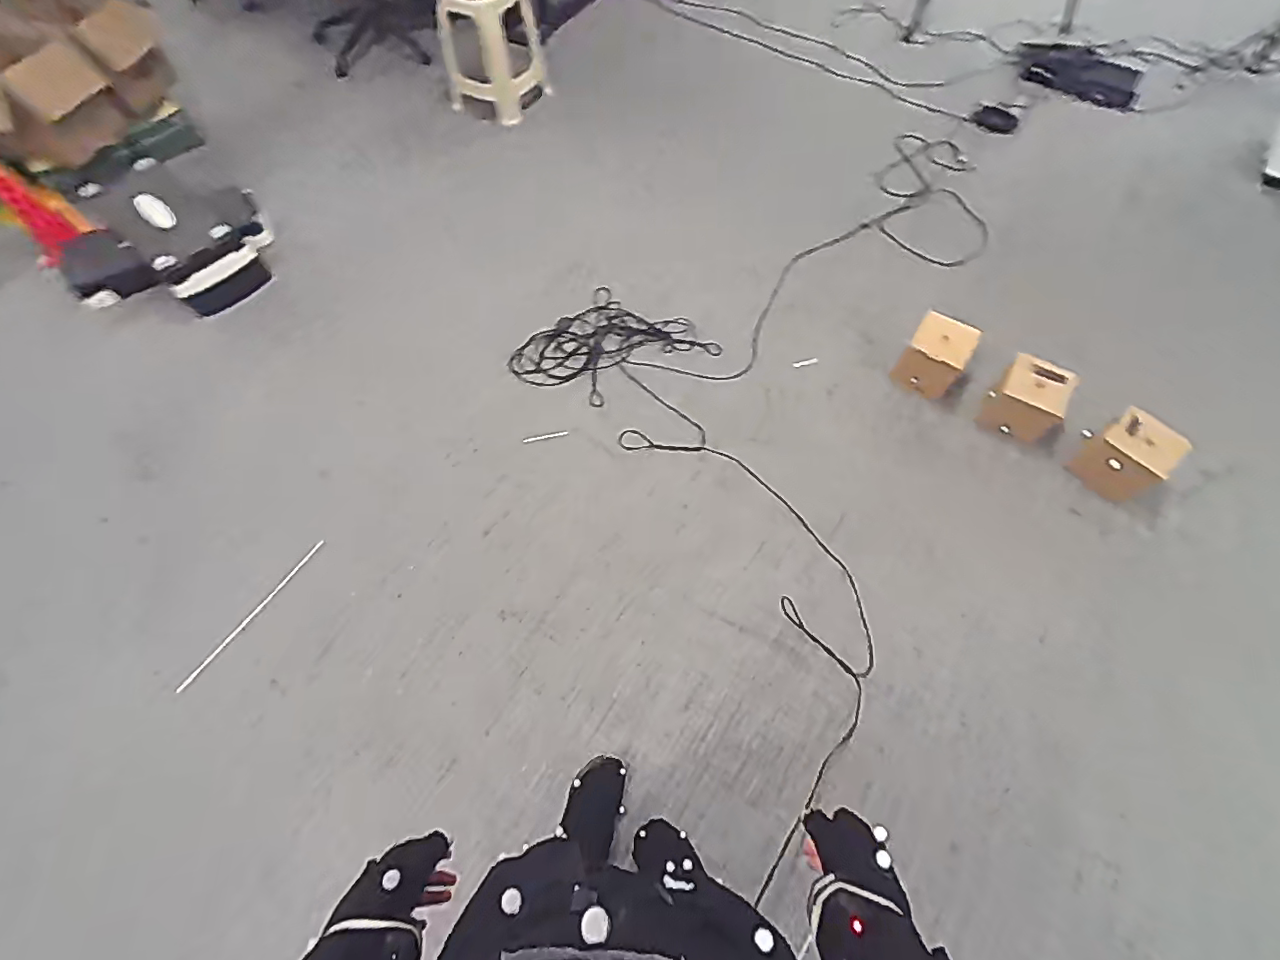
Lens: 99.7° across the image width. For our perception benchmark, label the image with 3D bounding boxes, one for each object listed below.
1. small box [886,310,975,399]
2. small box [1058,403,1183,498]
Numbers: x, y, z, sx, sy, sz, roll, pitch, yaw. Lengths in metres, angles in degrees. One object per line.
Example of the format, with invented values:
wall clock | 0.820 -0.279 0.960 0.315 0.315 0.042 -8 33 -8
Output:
small box | 0.910 -0.394 1.708 0.168 0.176 0.179 31 68 15
small box | 1.354 -0.079 1.538 0.168 0.176 0.179 -39 70 -17
